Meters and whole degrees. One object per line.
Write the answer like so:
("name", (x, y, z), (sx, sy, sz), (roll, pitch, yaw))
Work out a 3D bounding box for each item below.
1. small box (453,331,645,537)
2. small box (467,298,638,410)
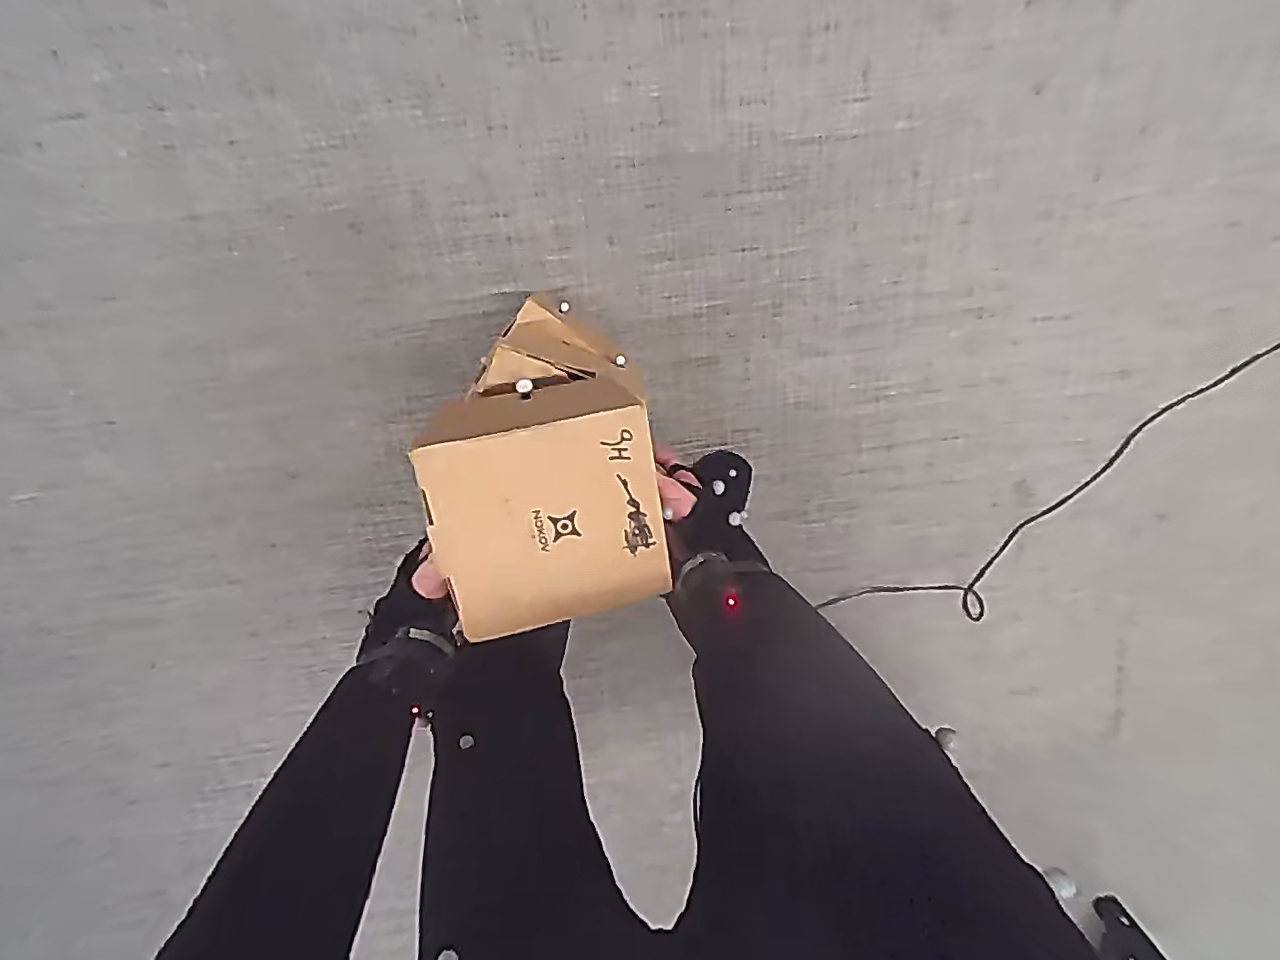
("small box", (-0.106, -0.065, 0.658), (0.168, 0.176, 0.179), (20, 111, -11))
("small box", (-0.123, -0.151, 0.800), (0.179, 0.176, 0.168), (32, 108, -16))
